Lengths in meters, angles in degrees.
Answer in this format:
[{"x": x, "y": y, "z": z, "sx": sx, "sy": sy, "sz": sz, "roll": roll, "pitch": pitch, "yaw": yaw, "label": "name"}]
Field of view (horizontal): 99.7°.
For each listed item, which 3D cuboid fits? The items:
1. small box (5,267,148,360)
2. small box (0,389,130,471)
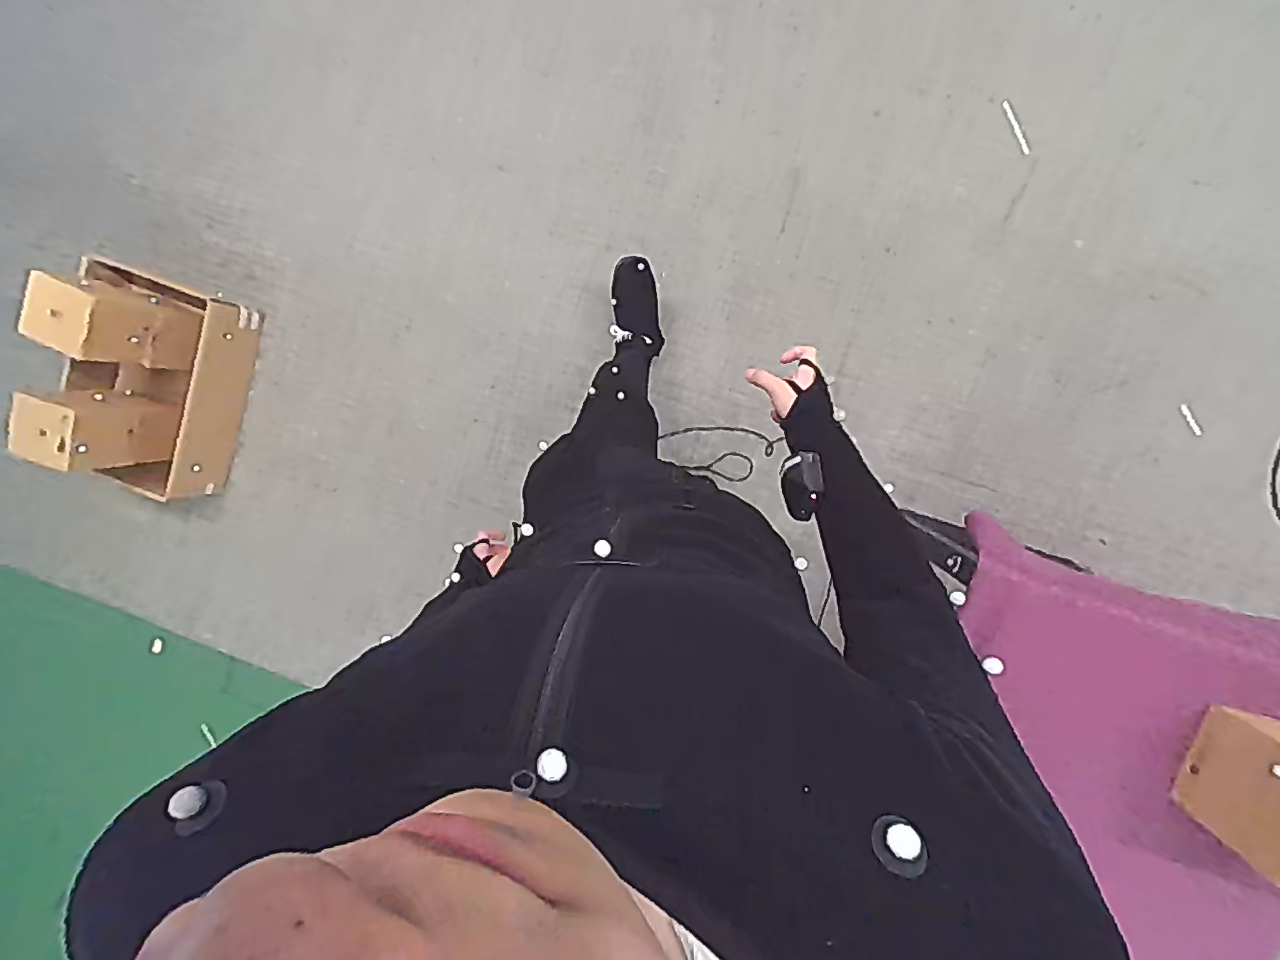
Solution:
[{"x": -1.432, "y": -0.416, "z": 1.383, "sx": 0.179, "sy": 0.176, "sz": 0.168, "roll": 24, "pitch": 100, "yaw": 0, "label": "small box"}, {"x": -1.523, "y": -0.134, "z": 1.433, "sx": 0.179, "sy": 0.176, "sz": 0.168, "roll": 18, "pitch": 100, "yaw": 3, "label": "small box"}]
